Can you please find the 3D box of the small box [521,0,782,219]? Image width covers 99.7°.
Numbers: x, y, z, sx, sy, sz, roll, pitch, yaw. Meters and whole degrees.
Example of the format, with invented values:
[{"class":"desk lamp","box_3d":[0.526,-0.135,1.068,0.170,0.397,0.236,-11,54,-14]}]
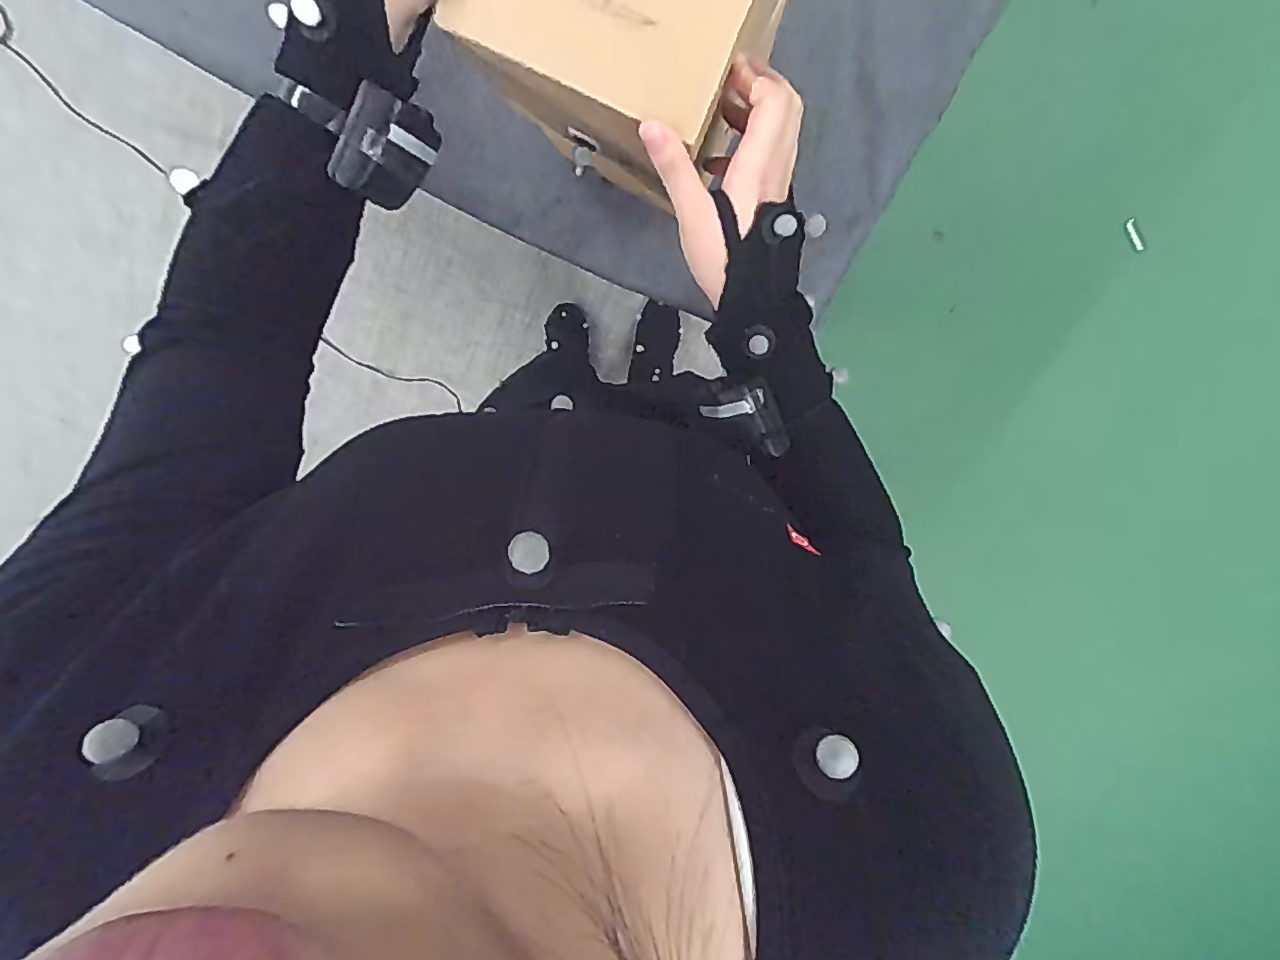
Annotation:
[{"class":"small box","box_3d":[0.014,-0.376,0.513,0.168,0.176,0.179,26,107,-4]}]
